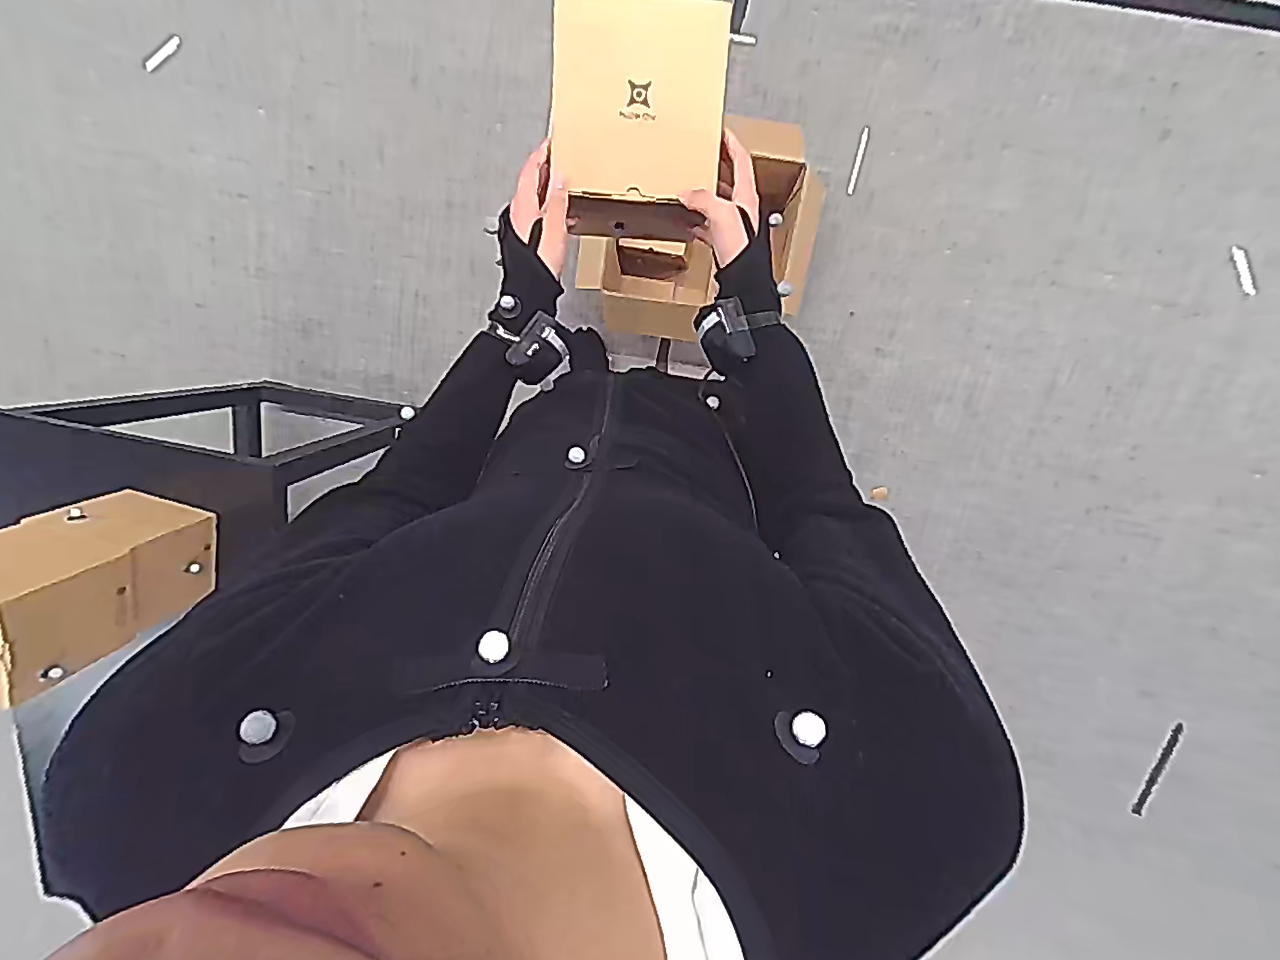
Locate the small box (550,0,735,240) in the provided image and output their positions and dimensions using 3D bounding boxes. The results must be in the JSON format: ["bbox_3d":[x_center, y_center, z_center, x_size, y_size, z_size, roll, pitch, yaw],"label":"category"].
[{"bbox_3d":[-0.004,-0.376,0.582,0.168,0.176,0.179,3,102,-3],"label":"small box"}]

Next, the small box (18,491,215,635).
[{"bbox_3d":[-0.880,0.131,0.924,0.179,0.176,0.168,16,108,1],"label":"small box"}]
